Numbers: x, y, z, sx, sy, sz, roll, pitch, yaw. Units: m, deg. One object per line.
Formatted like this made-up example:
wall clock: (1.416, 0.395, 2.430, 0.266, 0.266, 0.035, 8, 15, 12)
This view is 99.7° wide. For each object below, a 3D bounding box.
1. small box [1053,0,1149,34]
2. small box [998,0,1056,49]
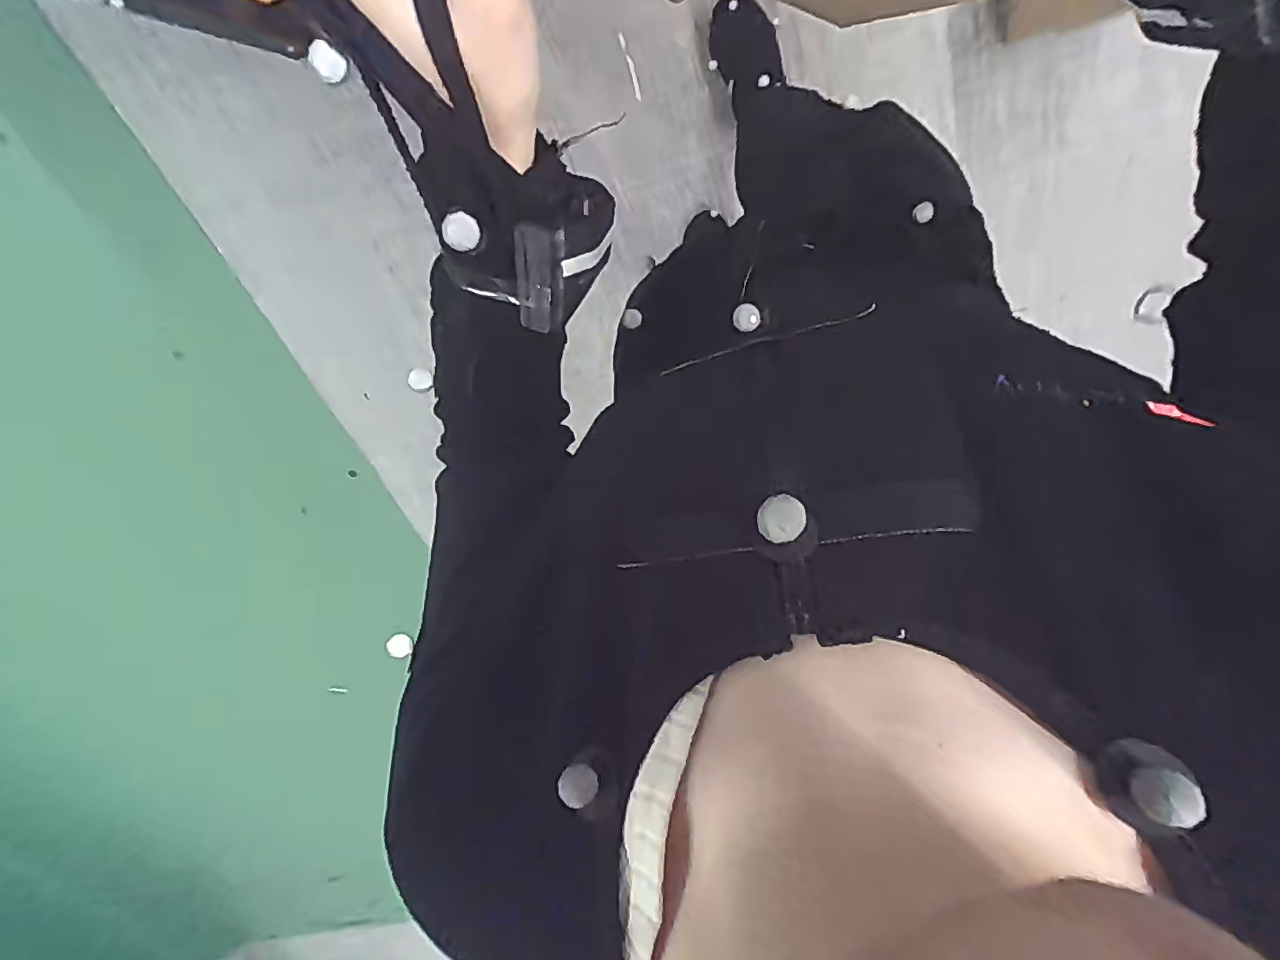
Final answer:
small box: (0.687, -0.742, 0.721, 0.179, 0.176, 0.168, -19, 117, 12)
small box: (0.705, -0.830, 0.859, 0.179, 0.176, 0.168, -17, 117, 12)
